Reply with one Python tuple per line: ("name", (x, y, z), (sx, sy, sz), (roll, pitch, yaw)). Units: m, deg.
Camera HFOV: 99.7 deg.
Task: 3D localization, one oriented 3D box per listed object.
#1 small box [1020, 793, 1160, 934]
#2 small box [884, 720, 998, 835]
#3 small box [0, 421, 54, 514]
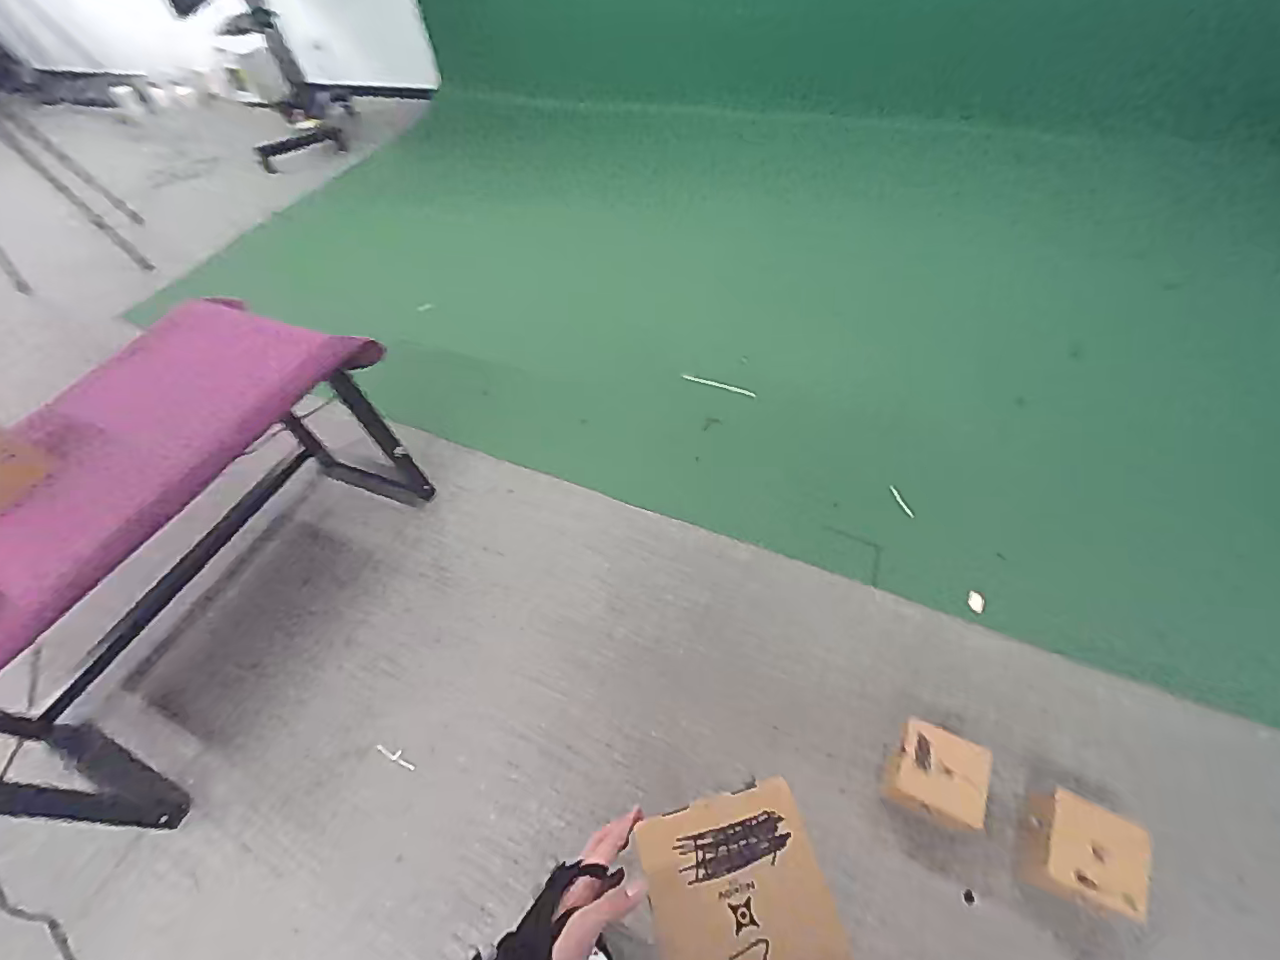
("small box", (0.922, 0.788, 1.119), (0.168, 0.176, 0.179), (21, 59, 22))
("small box", (0.677, 0.682, 1.233), (0.179, 0.176, 0.168), (20, 59, 21))
("small box", (-1.476, -0.043, 1.196), (0.168, 0.176, 0.179), (16, 58, 20))
